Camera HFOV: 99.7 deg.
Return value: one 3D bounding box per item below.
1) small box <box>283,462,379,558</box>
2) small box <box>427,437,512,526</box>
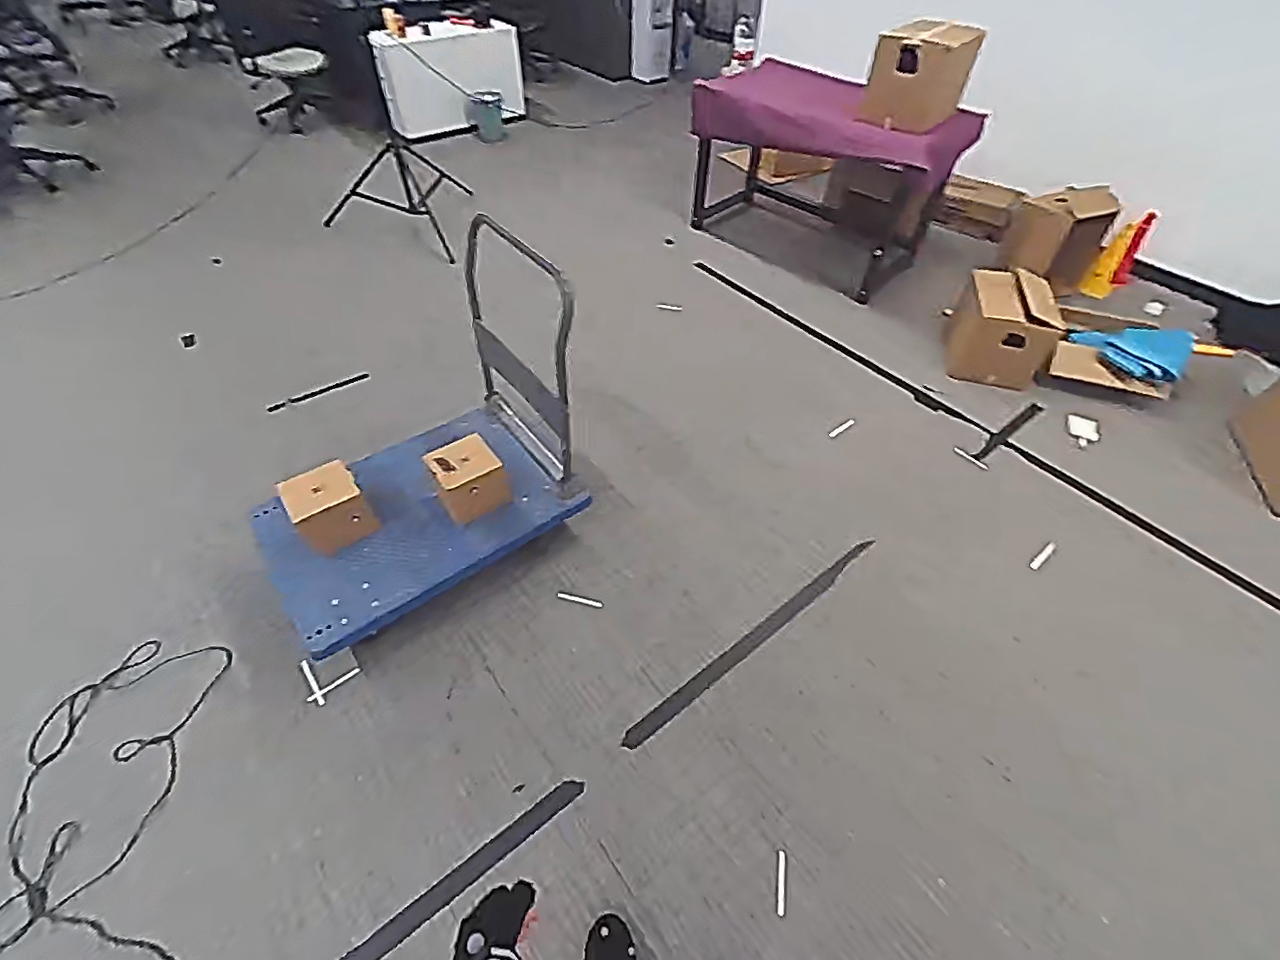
[{"bbox_3d":[-0.867,0.086,1.535,0.179,0.176,0.168,-30,55,-25],"label":"small box"},{"bbox_3d":[-0.506,0.008,1.619,0.179,0.176,0.168,-28,55,-24],"label":"small box"}]
